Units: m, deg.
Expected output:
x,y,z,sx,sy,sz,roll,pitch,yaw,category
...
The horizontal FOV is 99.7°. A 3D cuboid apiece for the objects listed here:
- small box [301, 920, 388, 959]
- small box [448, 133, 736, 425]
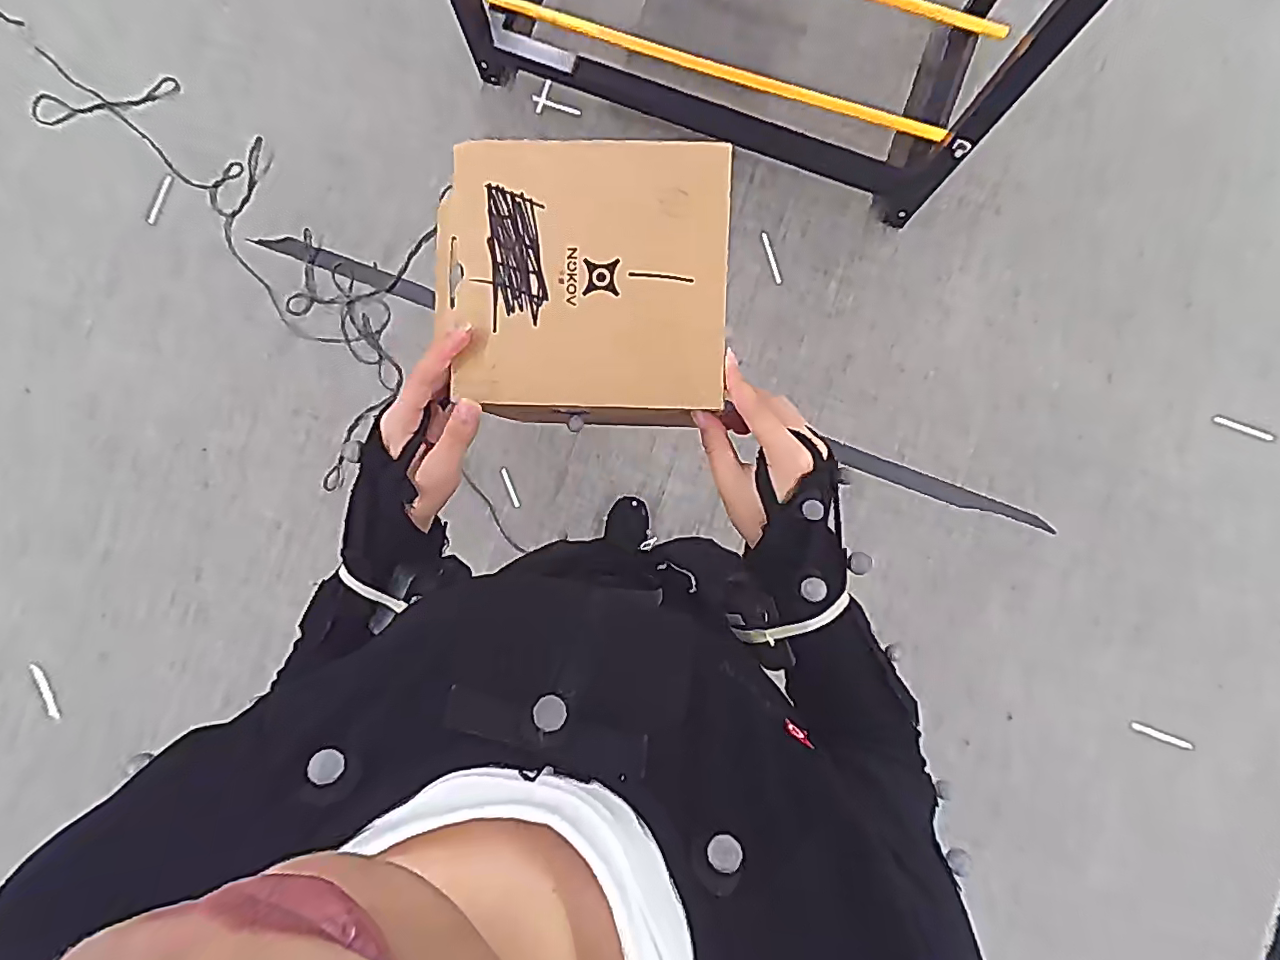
x,y,z,sx,sy,sz,roll,pitch,yaw,category
-0.685,1.129,1.183,0.168,0.176,0.179,24,89,2,small box
-0.028,-0.131,0.414,0.179,0.176,0.168,2,92,1,small box
